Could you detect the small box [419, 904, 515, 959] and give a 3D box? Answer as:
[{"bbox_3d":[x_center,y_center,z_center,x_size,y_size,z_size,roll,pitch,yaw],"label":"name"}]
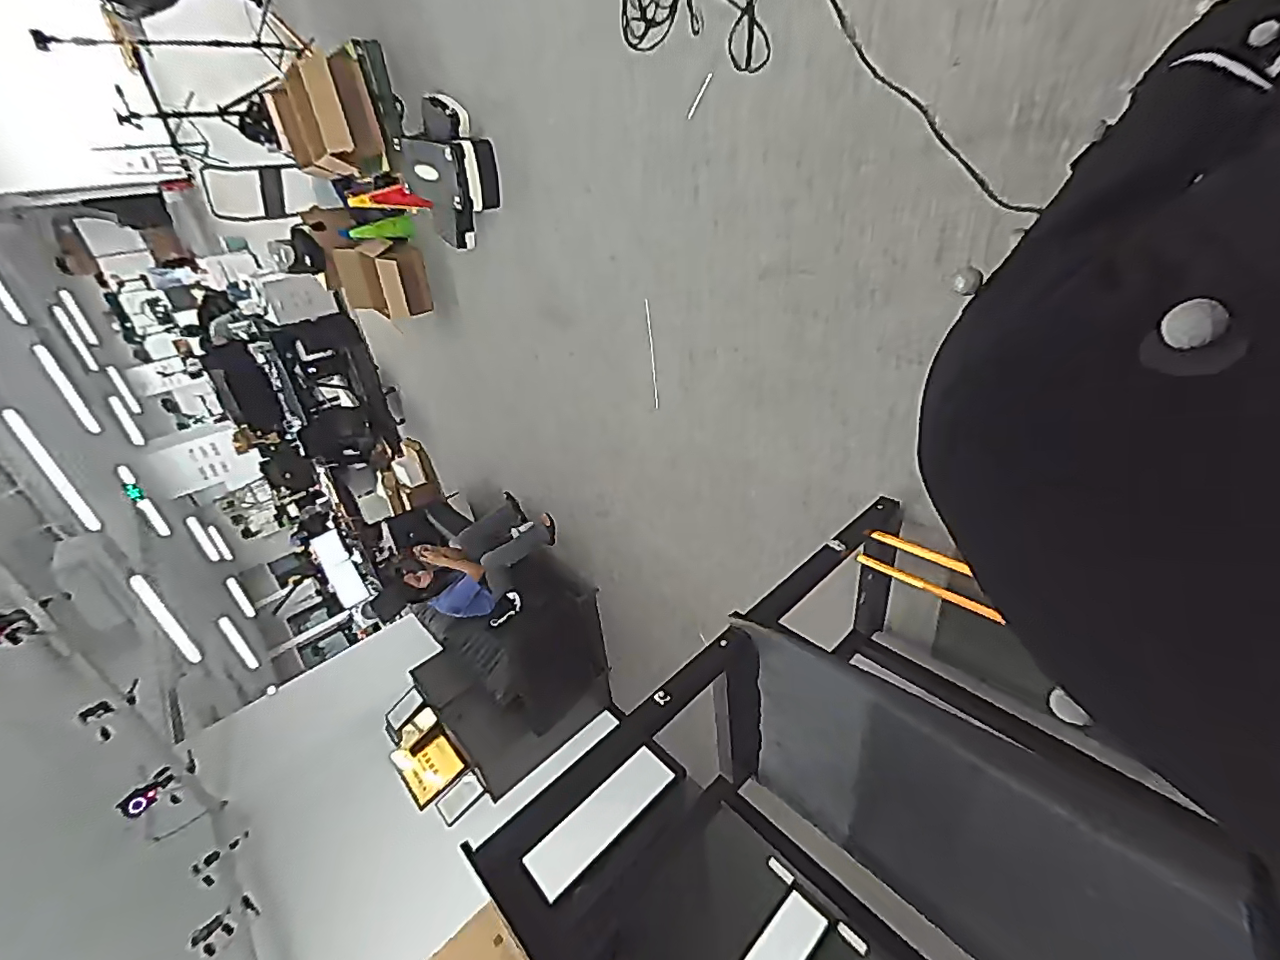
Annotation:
[{"bbox_3d":[-0.272,0.840,0.865,0.168,0.176,0.179,28,135,40],"label":"small box"}]
